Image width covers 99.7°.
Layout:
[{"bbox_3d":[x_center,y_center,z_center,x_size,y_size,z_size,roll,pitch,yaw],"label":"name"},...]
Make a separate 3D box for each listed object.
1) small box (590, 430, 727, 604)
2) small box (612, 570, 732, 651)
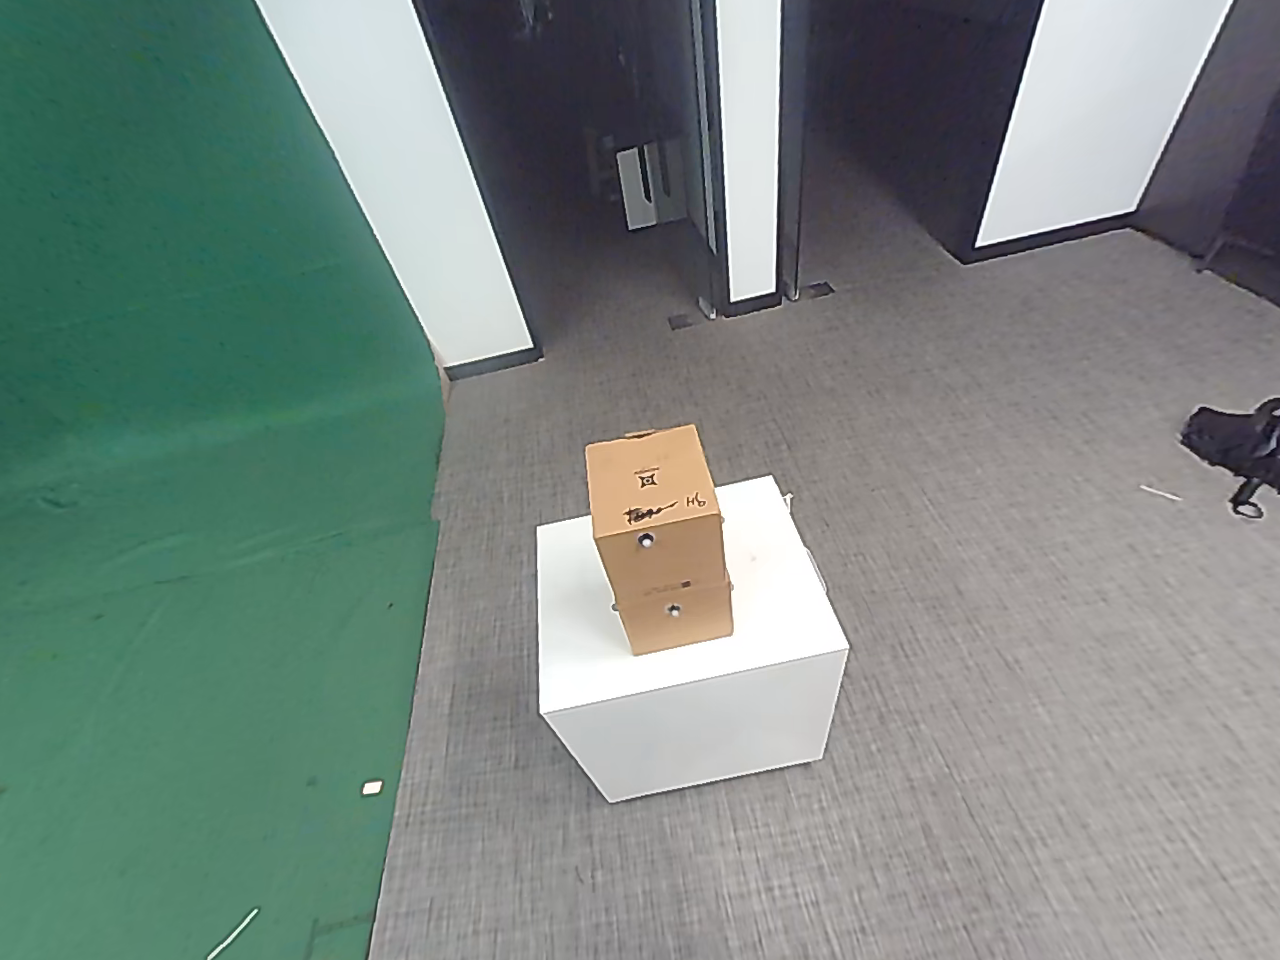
[{"bbox_3d":[0.027,0.055,0.801,0.168,0.176,0.179,-13,46,-1],"label":"small box"},{"bbox_3d":[0.051,0.169,0.914,0.179,0.176,0.168,-12,46,0],"label":"small box"}]
